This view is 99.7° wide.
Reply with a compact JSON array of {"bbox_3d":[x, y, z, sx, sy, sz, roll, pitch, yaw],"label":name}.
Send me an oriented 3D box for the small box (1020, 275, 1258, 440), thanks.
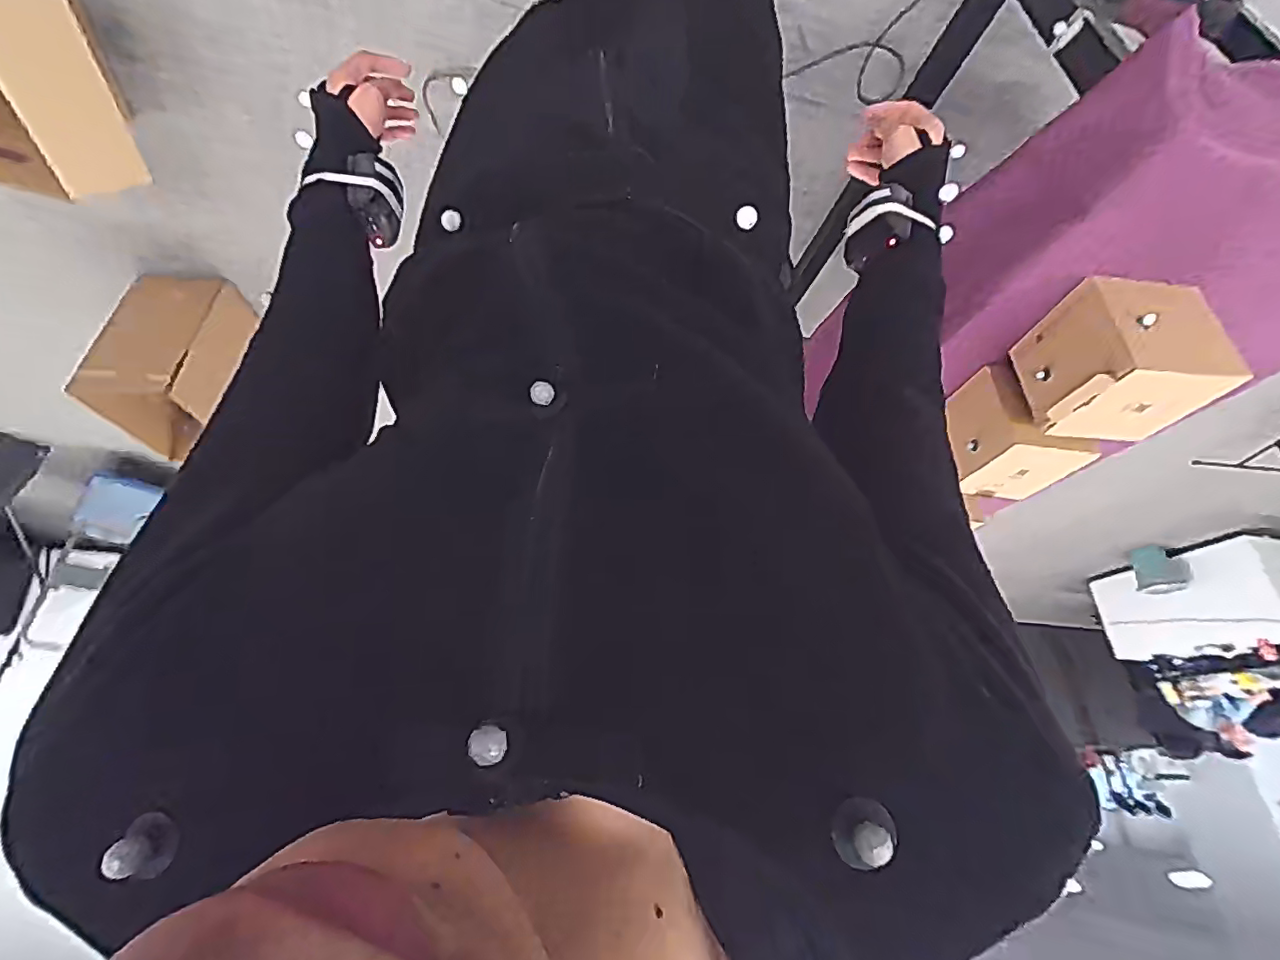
[{"bbox_3d":[0.717,-0.180,0.805,0.179,0.176,0.168,4,153,-6],"label":"small box"}]
